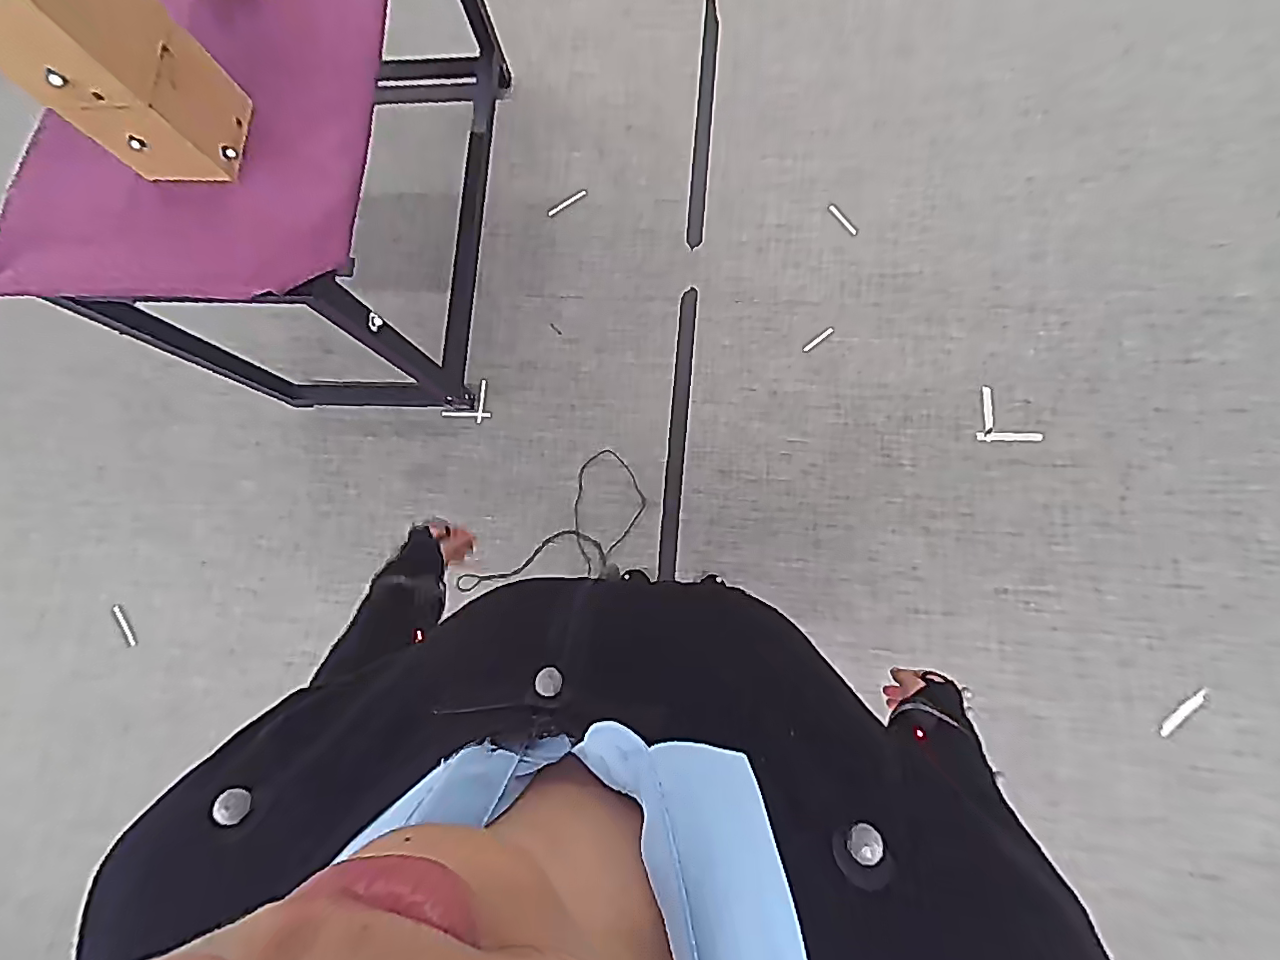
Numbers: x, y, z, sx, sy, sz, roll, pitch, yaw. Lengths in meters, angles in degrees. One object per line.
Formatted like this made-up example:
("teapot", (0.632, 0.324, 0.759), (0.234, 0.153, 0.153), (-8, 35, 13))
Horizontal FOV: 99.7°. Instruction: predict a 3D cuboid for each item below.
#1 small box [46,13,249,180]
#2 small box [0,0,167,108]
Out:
("small box", (-0.809, -0.633, 0.909), (0.179, 0.176, 0.168), (3, 80, 5))
("small box", (-0.813, -0.659, 0.746), (0.168, 0.176, 0.179), (3, 80, 5))
